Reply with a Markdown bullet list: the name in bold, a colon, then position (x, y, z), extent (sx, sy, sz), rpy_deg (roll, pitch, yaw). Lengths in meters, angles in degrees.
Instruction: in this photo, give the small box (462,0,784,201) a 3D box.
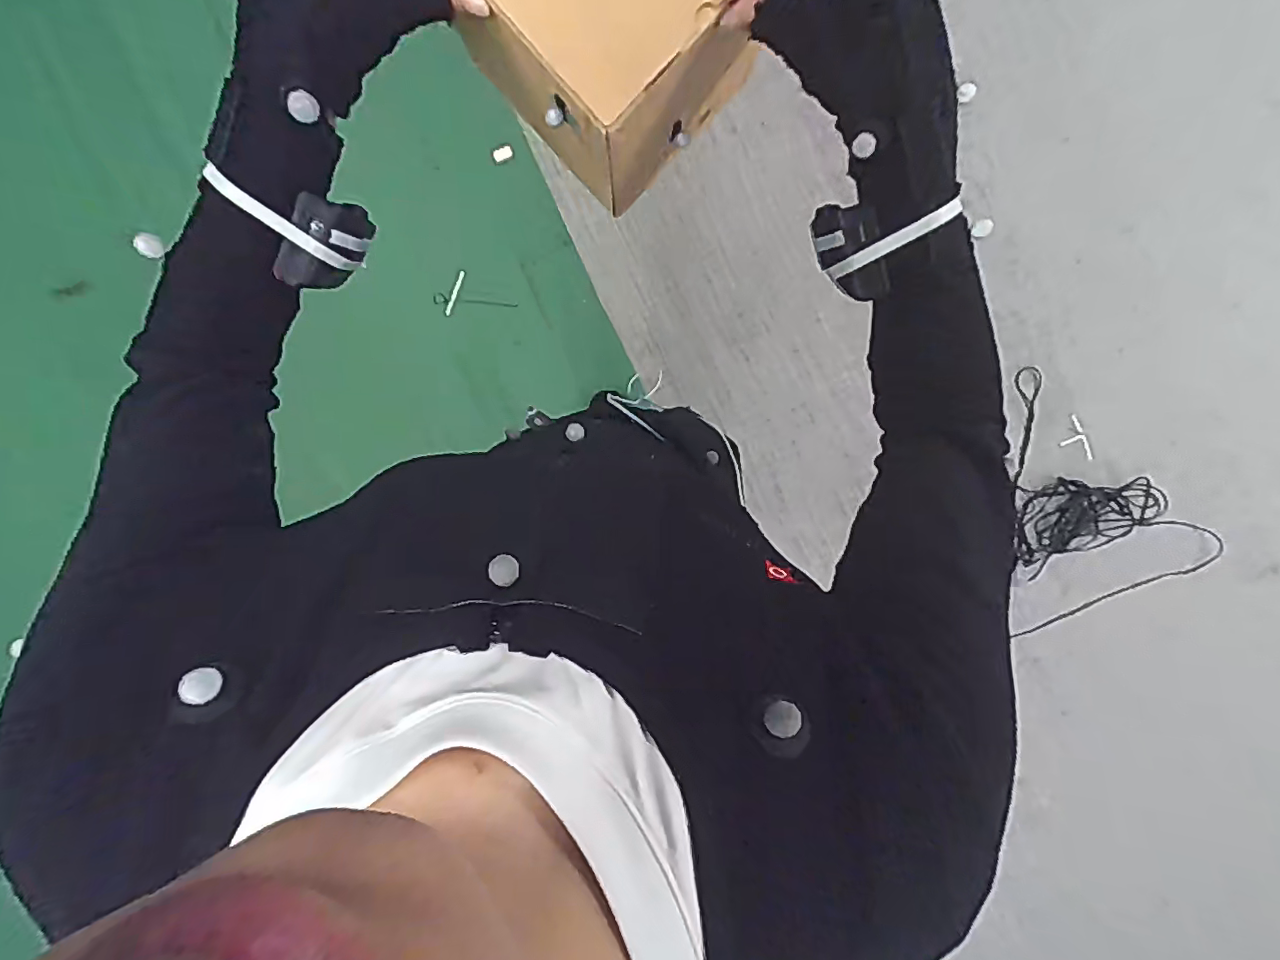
- **small box**: position (-0.017, -0.340, 0.383), extent (0.168, 0.176, 0.179), rpy_deg (-44, 98, 7)
